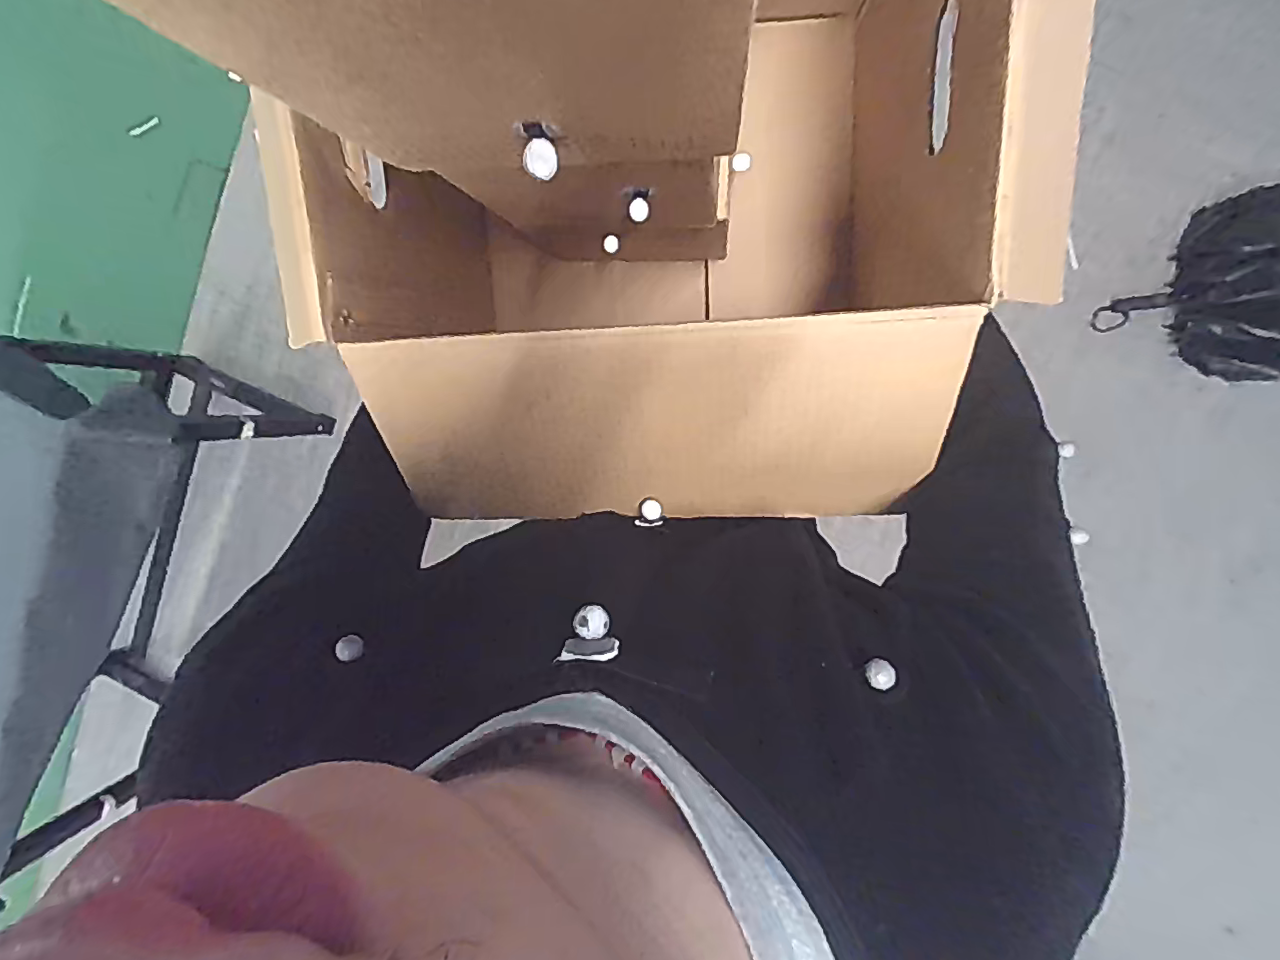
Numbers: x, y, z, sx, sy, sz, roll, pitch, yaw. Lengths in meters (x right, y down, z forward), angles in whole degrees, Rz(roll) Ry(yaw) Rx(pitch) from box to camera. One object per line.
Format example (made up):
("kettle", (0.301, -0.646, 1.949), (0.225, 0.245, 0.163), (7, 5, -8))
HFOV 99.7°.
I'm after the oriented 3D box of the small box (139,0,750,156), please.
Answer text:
("small box", (-0.050, -0.220, 0.165), (0.179, 0.176, 0.168), (1, 102, 7))
